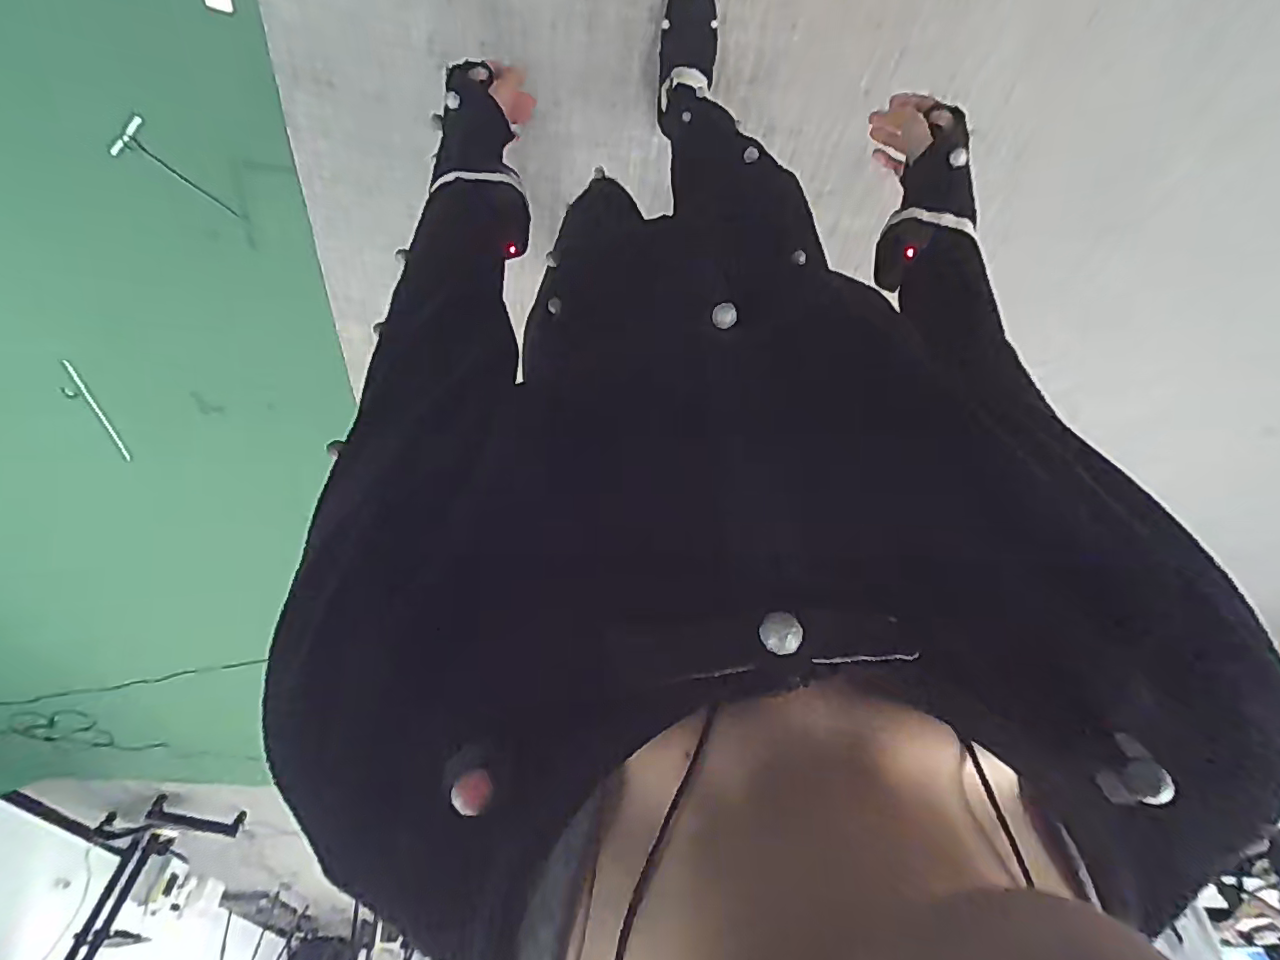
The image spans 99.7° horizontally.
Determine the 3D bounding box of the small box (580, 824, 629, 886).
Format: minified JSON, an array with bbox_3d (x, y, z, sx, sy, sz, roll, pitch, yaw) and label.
[{"bbox_3d":[-0.139,1.452,2.092,0.168,0.176,0.179,7,133,-8],"label":"small box"}]
